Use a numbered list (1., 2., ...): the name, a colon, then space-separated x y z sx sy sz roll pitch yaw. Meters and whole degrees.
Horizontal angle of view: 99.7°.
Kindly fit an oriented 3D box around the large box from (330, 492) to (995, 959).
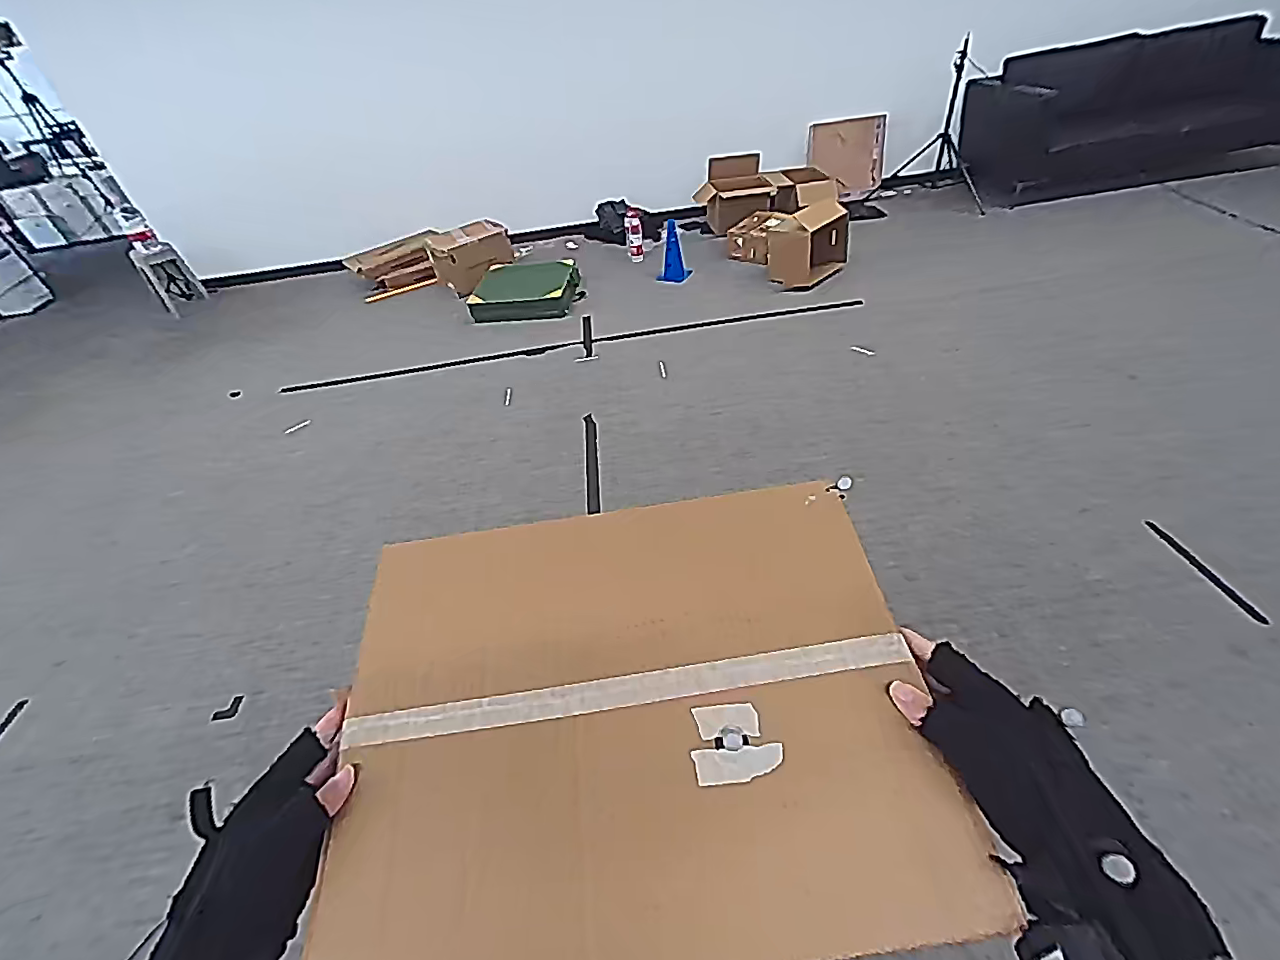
1. large box: 0.005 0.250 0.518 0.408 0.320 0.320 -8 52 -1
